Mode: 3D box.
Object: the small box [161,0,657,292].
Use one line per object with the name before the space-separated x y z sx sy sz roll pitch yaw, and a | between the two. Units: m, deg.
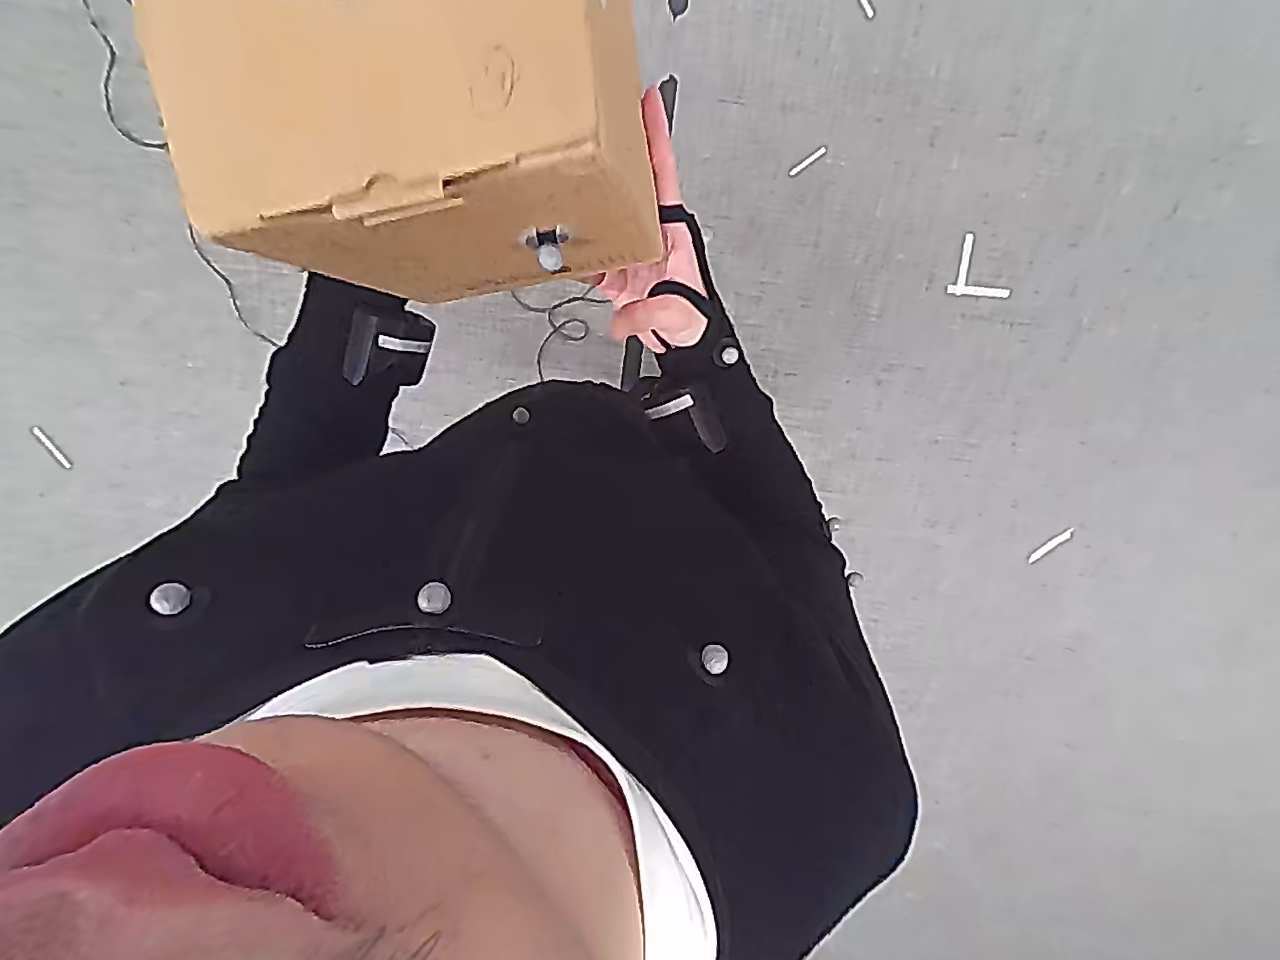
small box | -0.090 -0.202 0.273 0.168 0.176 0.179 -6 98 10
